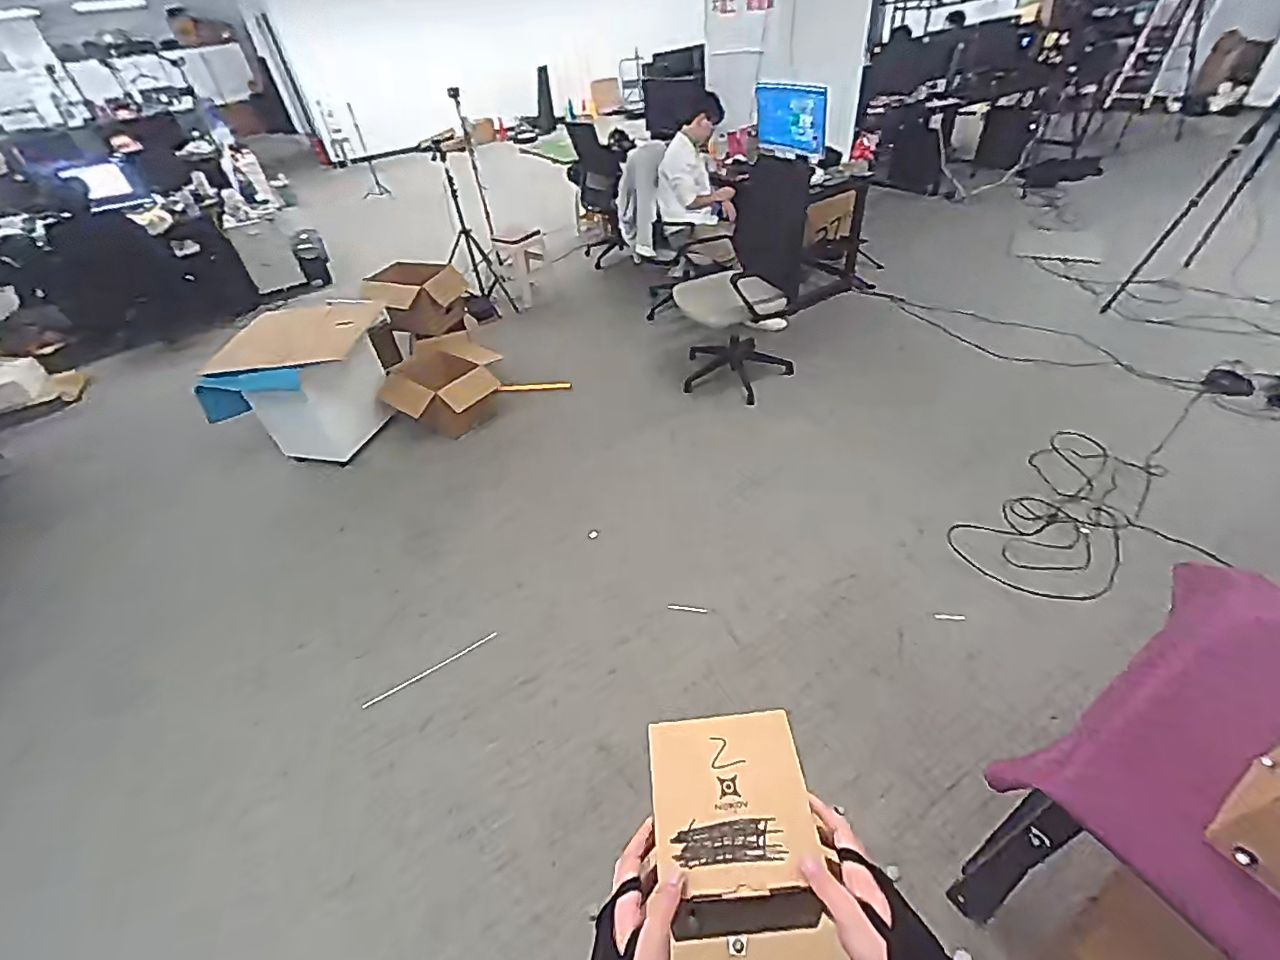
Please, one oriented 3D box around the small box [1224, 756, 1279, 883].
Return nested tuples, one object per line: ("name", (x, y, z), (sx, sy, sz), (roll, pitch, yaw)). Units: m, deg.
("small box", (0.872, 0.425, 0.646), (0.179, 0.176, 0.168), (-26, 45, -21))
